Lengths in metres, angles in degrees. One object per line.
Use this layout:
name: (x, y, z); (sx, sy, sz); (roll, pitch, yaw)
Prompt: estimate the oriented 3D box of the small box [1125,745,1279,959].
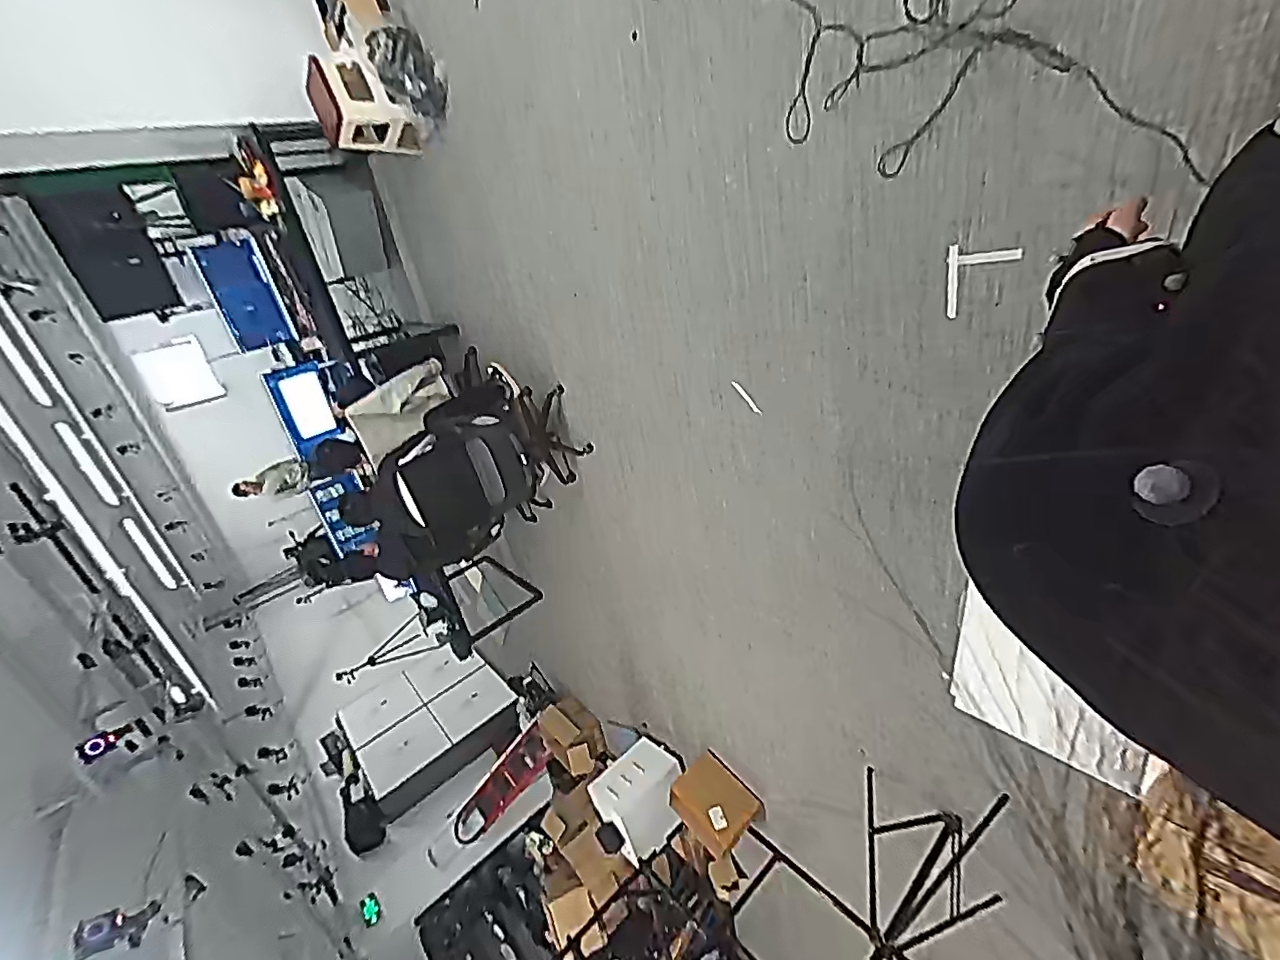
small box: (0.850, 0.532, 0.783); (0.168, 0.176, 0.179); (23, 132, 45)
